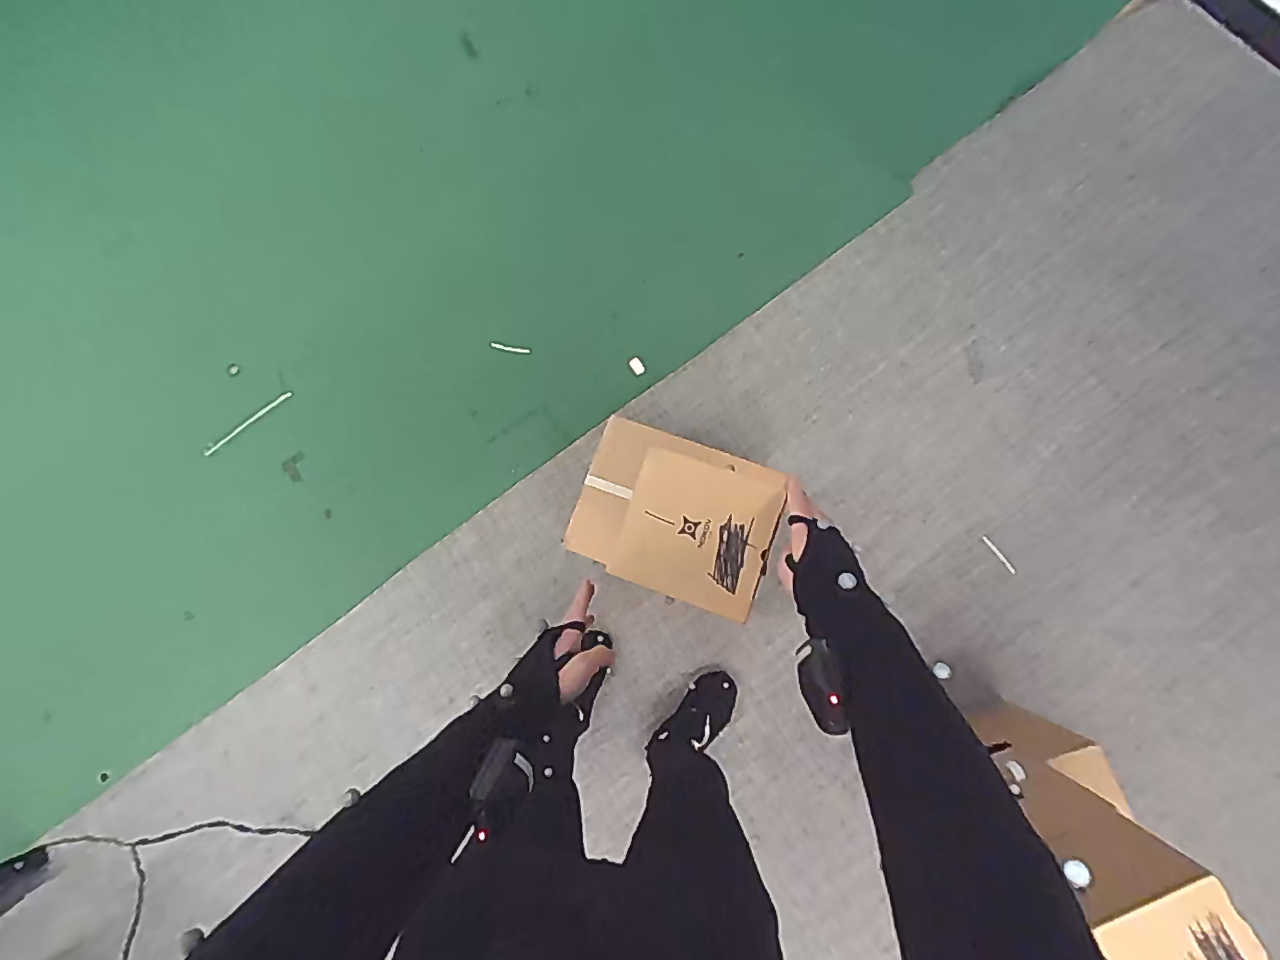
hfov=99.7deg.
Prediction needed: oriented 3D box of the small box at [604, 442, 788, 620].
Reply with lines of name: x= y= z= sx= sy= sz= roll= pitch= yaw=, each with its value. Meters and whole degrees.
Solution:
small box: x=0.075 y=0.067 z=0.709 sx=0.179 sy=0.176 sz=0.168 roll=19 pitch=84 yaw=11

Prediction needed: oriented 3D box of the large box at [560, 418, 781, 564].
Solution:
large box: x=0.082 y=0.088 z=1.288 sx=0.408 sy=0.320 sz=0.320 roll=20 pitch=83 yaw=10
